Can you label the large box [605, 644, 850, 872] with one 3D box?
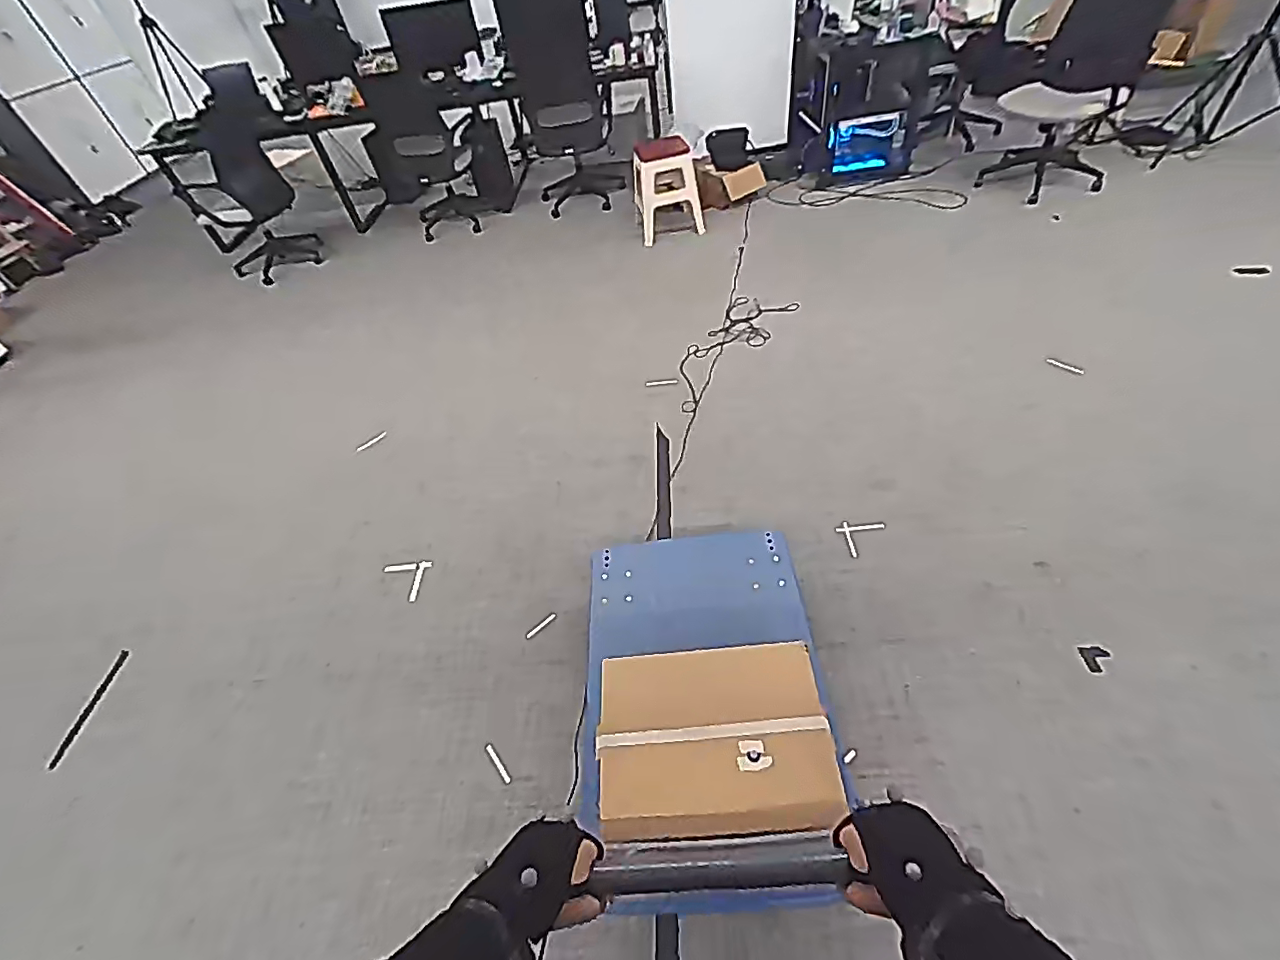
[{"bbox_3d":[0.151,0.561,1.083,0.408,0.320,0.320,-7,48,4],"label":"large box"}]
